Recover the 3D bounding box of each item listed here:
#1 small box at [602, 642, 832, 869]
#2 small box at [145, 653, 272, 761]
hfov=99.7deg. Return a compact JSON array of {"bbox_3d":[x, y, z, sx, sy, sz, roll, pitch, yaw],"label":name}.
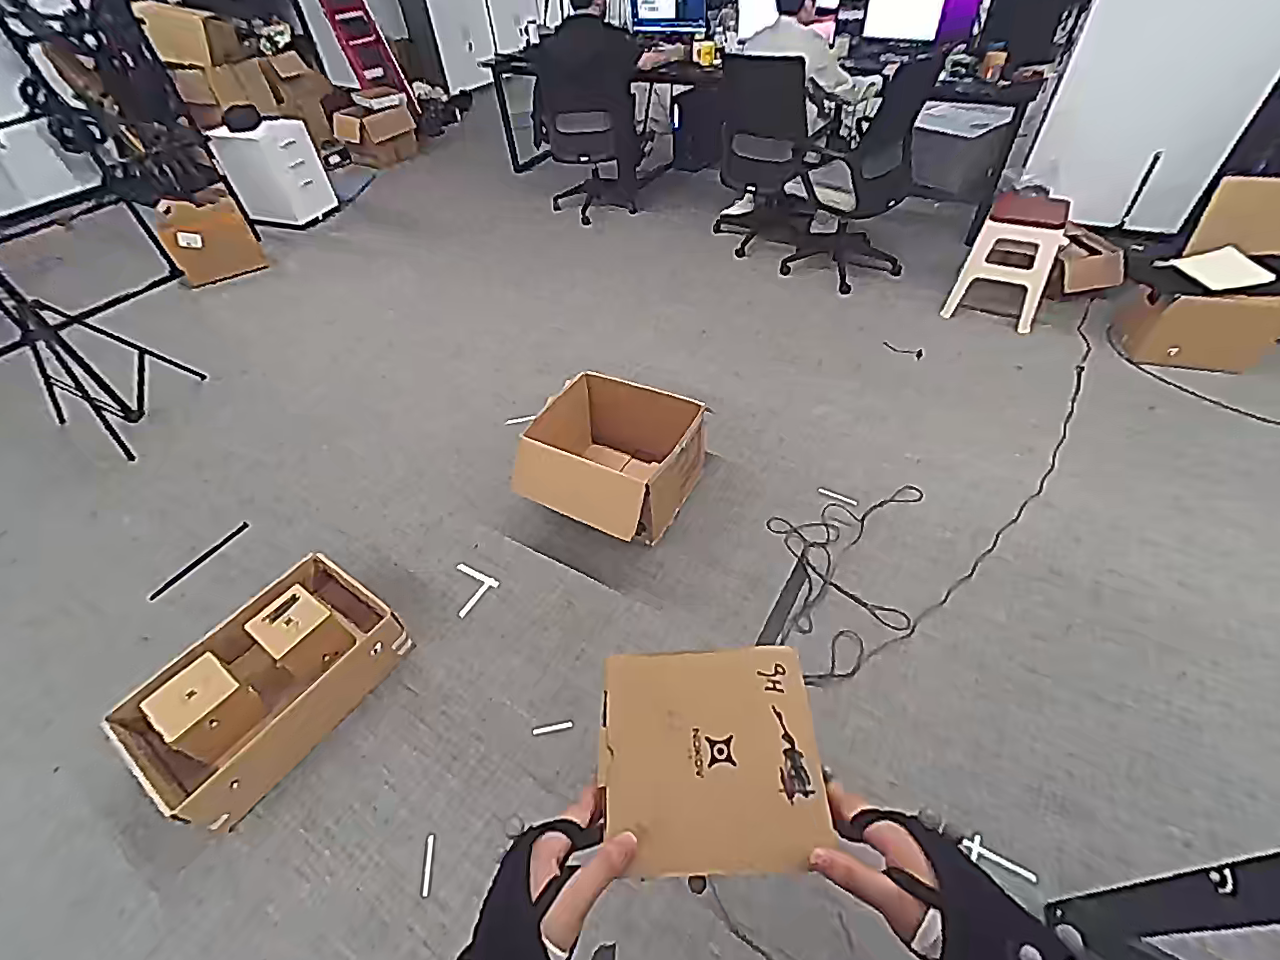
[{"bbox_3d":[0.061,0.266,0.515,0.179,0.176,0.168,-4,54,1],"label":"small box"},{"bbox_3d":[-1.130,0.602,1.428,0.168,0.176,0.179,27,53,24],"label":"small box"}]
